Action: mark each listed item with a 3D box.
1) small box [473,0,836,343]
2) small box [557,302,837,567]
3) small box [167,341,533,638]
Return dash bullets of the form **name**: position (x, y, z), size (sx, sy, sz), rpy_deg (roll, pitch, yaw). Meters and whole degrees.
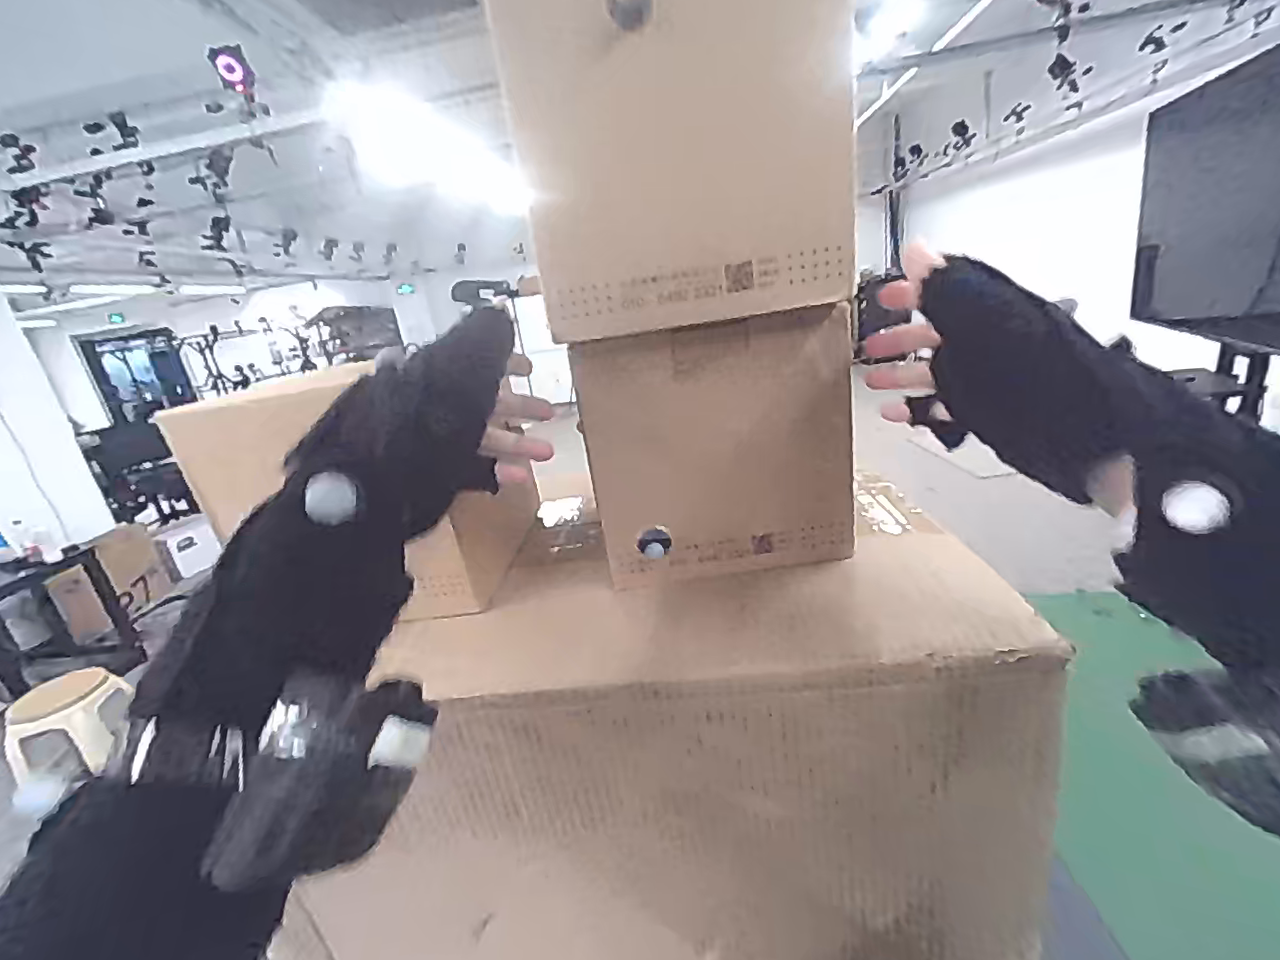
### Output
- **small box**: position (0.015, -0.186, 0.343), size (0.168, 0.176, 0.179), rpy_deg (-9, 20, 3)
- **small box**: position (0.043, -0.043, 0.417), size (0.168, 0.176, 0.179), rpy_deg (-9, 19, 2)
- **small box**: position (-0.195, -0.002, 0.429), size (0.168, 0.176, 0.179), rpy_deg (-10, 22, 6)
